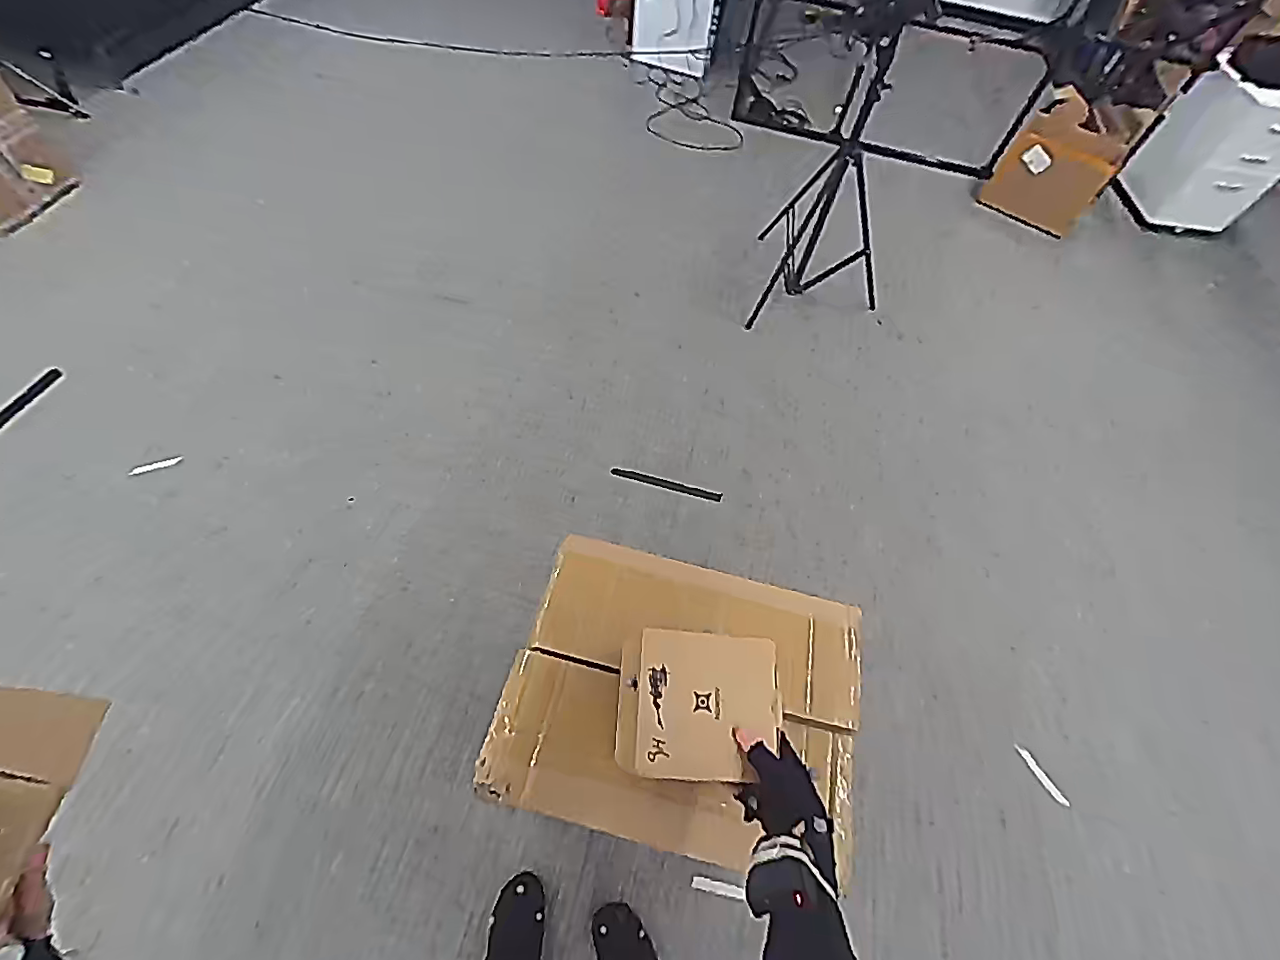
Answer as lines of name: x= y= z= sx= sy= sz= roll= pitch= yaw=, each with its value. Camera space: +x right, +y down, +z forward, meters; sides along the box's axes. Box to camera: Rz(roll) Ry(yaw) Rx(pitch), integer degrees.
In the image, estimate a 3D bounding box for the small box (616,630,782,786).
small box: x=0.071 y=0.297 z=0.716 sx=0.179 sy=0.176 sz=0.168 roll=7 pitch=67 yaw=-8
